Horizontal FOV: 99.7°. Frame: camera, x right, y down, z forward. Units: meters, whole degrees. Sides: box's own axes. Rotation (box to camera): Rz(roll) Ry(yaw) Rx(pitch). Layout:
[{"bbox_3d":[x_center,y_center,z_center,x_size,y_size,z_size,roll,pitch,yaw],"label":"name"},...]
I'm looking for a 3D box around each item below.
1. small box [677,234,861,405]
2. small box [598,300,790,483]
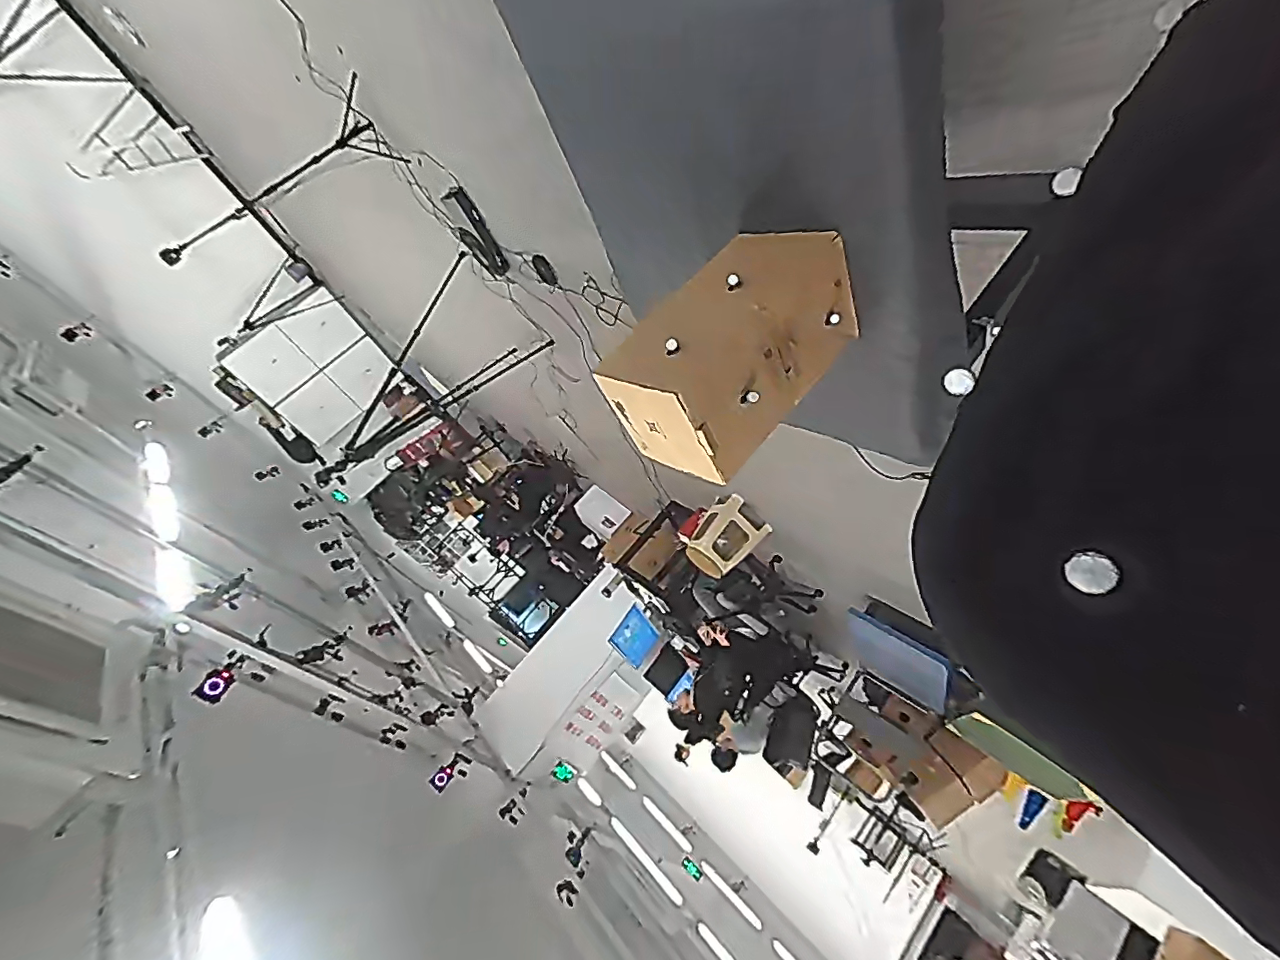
[{"bbox_3d":[0.190,-0.239,0.789,0.179,0.176,0.168,25,155,45],"label":"small box"},{"bbox_3d":[0.083,-0.127,0.736,0.179,0.176,0.168,23,154,46],"label":"small box"}]
